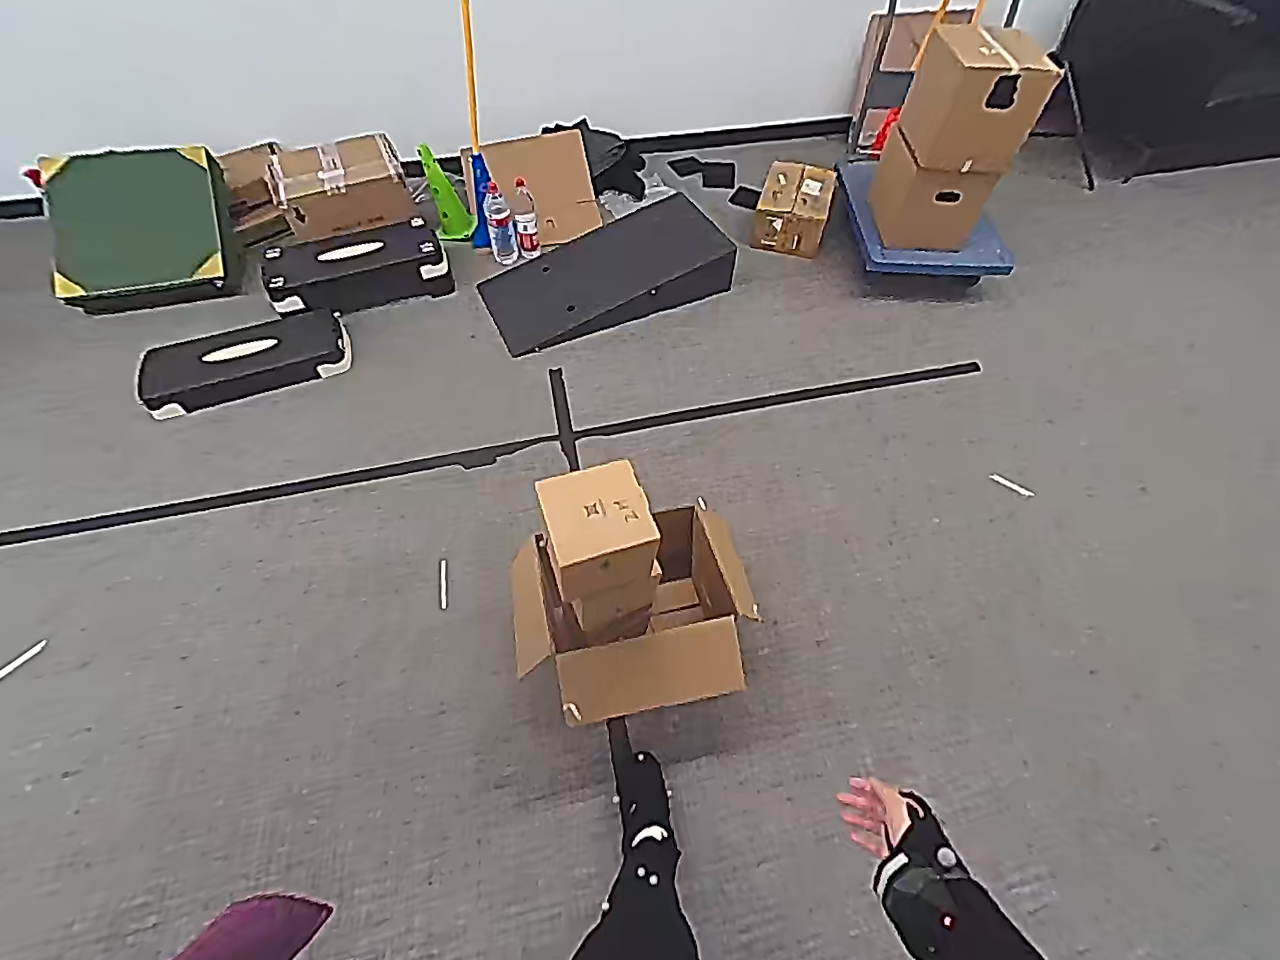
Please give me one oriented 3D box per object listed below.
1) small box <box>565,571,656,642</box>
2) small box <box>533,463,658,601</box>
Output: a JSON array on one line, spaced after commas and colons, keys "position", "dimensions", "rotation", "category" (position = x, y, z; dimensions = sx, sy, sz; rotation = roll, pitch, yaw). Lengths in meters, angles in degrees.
[{"position": [-0.083, 0.252, 1.266], "dimensions": [0.179, 0.176, 0.168], "rotation": [-27, 63, -21], "category": "small box"}, {"position": [-0.082, 0.098, 0.973], "dimensions": [0.179, 0.176, 0.168], "rotation": [-14, 61, -14], "category": "small box"}]
